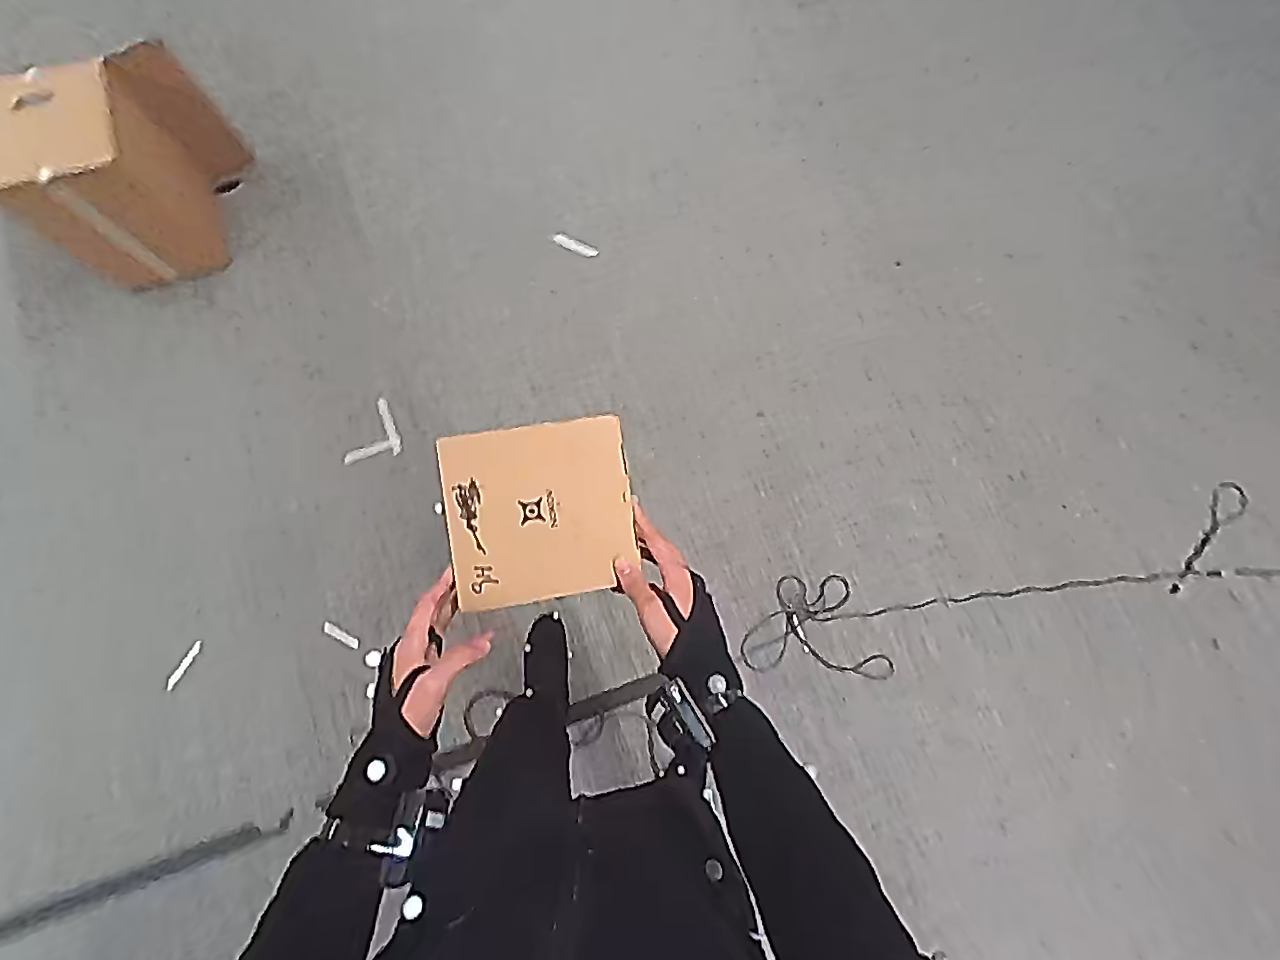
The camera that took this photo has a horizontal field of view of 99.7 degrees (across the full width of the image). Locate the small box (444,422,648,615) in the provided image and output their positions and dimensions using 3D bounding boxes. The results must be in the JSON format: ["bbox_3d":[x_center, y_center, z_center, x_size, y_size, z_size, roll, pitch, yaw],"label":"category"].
[{"bbox_3d":[-0.099,0.040,0.587,0.179,0.176,0.168,-8,85,-8],"label":"small box"}]
